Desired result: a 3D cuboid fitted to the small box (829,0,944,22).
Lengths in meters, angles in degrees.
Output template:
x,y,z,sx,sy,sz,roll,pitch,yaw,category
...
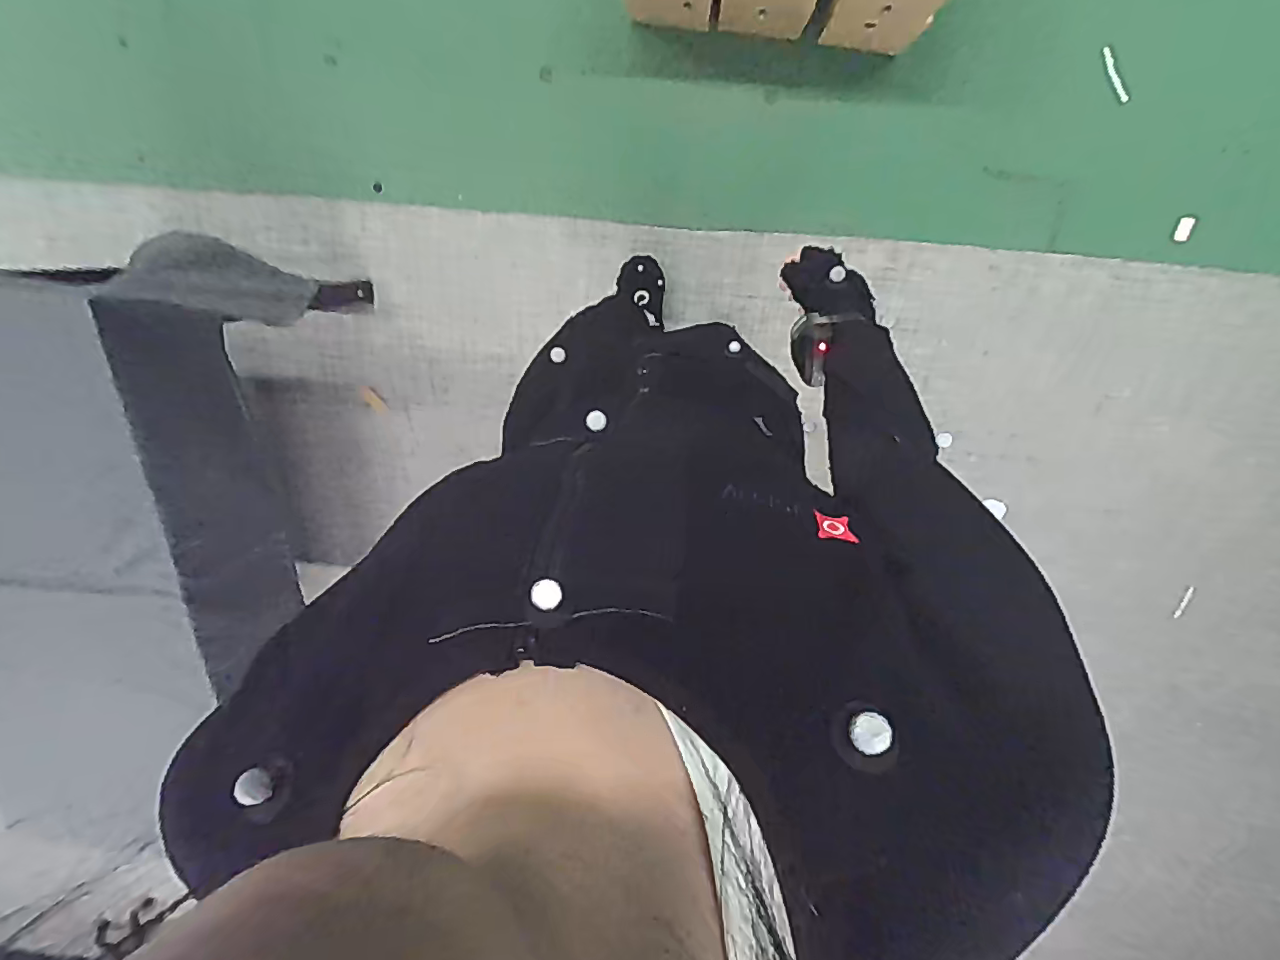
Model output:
x,y,z,sx,sy,sz,roll,pitch,yaw,category
0.432,-0.885,0.884,0.179,0.176,0.168,5,112,2,small box
